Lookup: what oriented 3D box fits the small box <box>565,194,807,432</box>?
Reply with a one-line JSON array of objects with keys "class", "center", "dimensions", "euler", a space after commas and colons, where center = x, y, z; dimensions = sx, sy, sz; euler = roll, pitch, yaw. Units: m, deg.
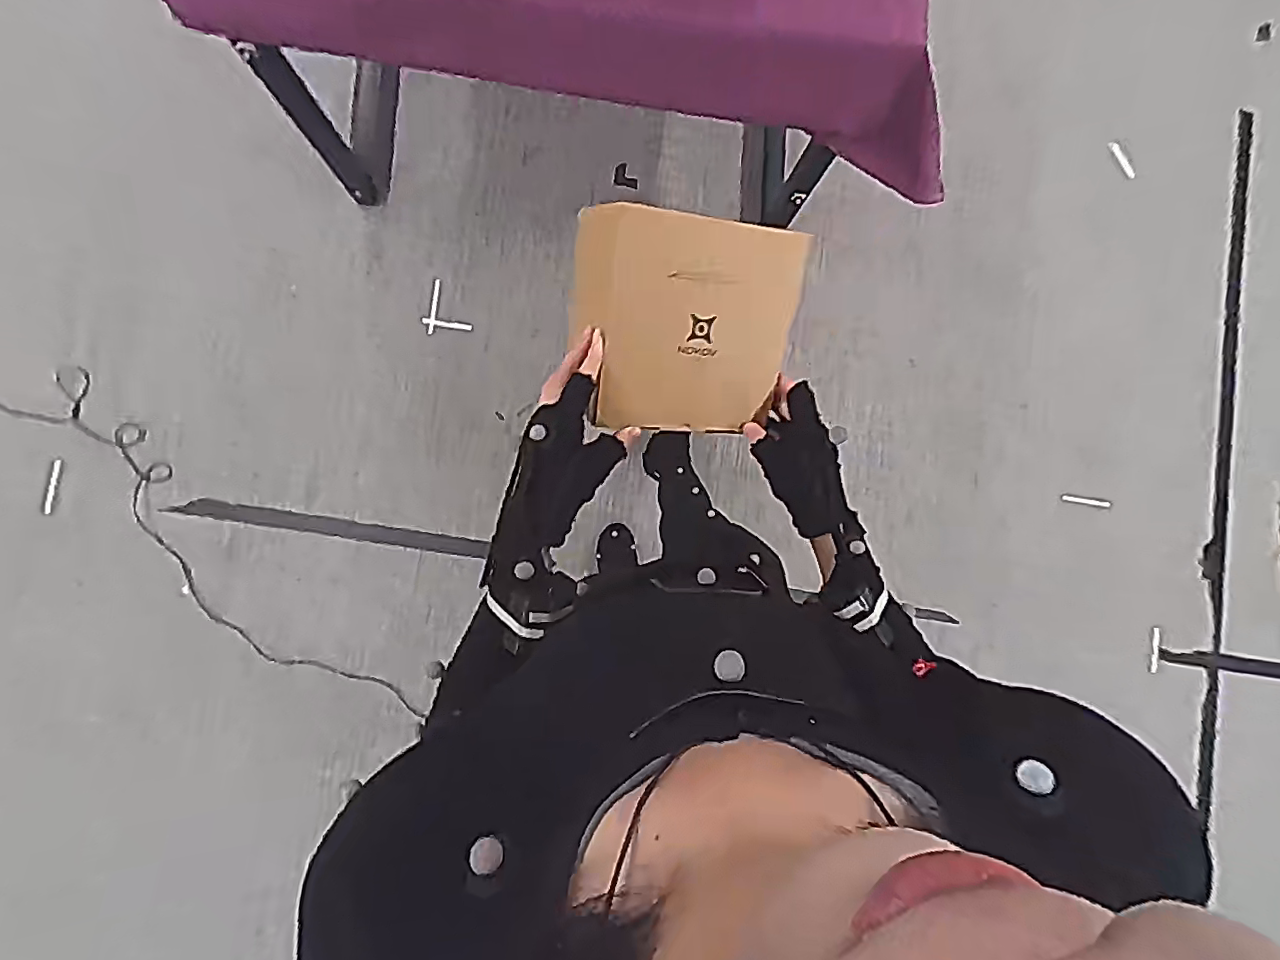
[{"class": "small box", "center": [0.026, -0.156, 0.516], "dimensions": [0.168, 0.176, 0.179], "euler": [0, 112, -19]}]
